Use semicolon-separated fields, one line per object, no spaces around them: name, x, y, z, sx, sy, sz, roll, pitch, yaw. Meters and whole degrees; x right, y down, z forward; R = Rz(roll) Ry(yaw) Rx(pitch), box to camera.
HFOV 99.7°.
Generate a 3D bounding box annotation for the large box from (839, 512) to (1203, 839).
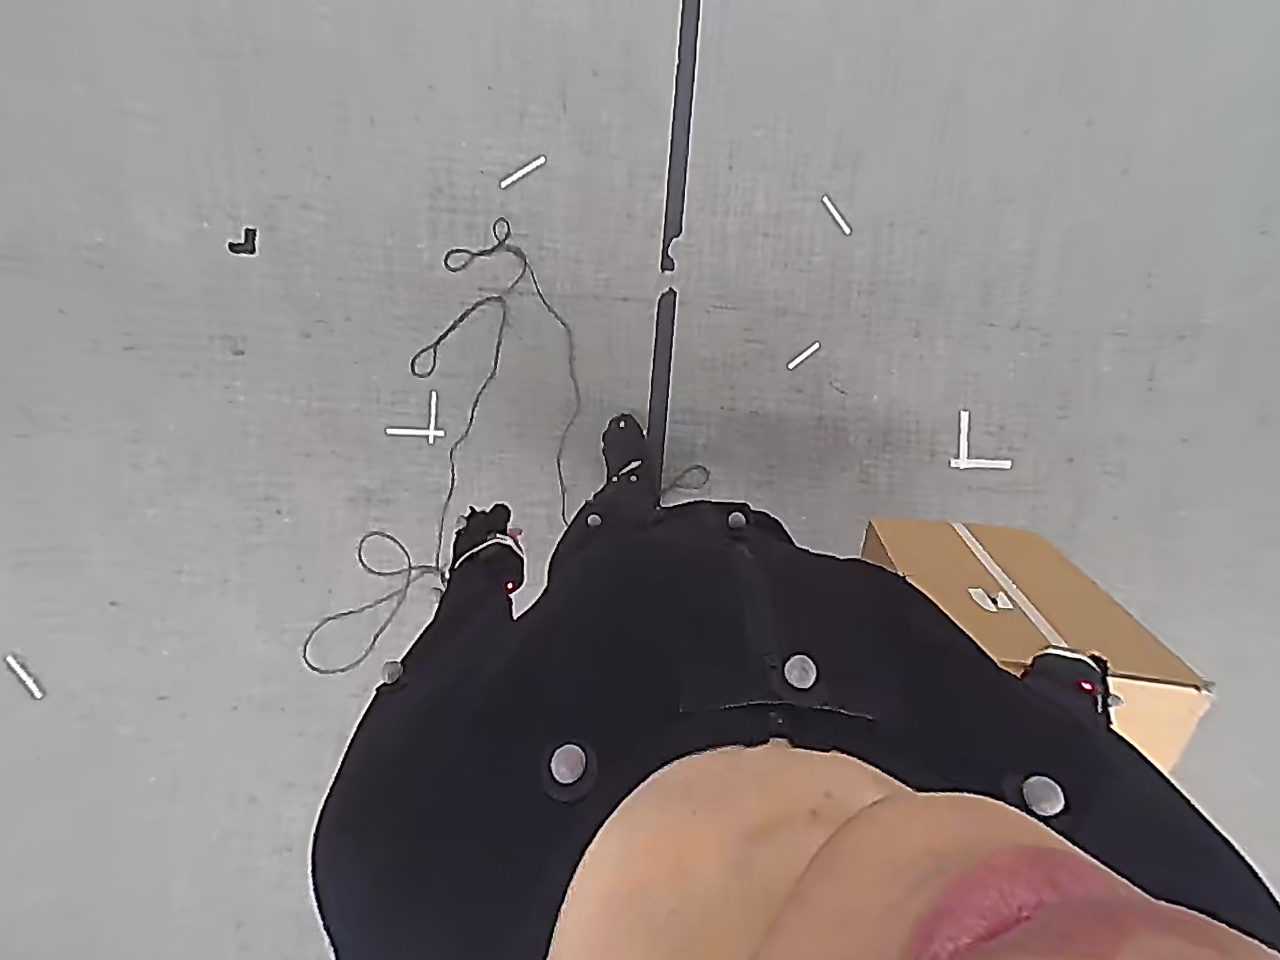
large box;0.563;0.295;0.921;0.320;0.408;0.320;6;115;6
